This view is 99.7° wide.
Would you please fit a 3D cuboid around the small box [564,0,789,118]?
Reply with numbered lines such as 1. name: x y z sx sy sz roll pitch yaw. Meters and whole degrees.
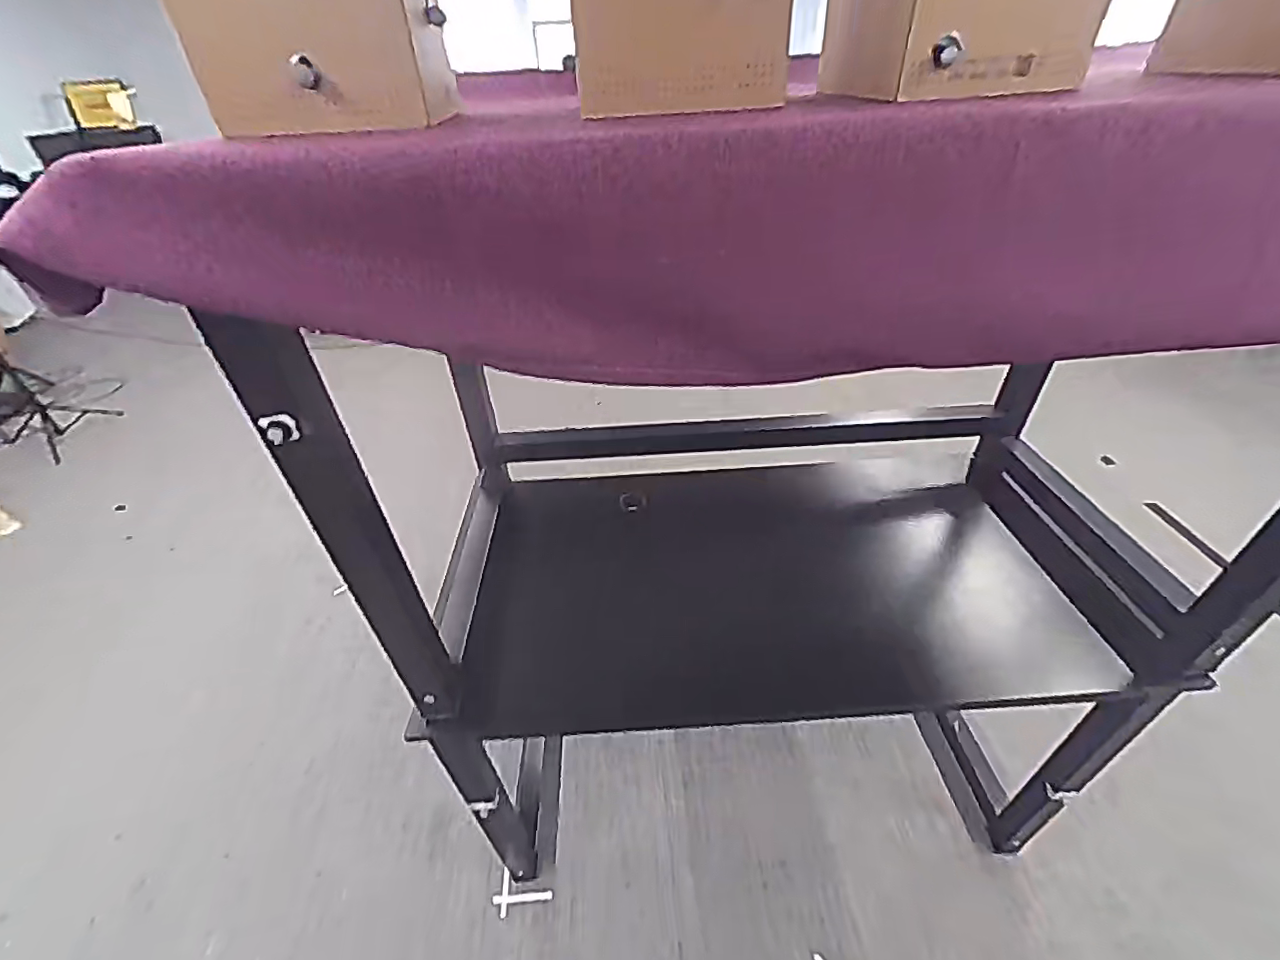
1. small box: 0.027 -0.421 0.459 0.179 0.176 0.168 -4 38 0

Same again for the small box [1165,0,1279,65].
1. small box: 0.603 -0.444 0.437 0.168 0.176 0.179 -2 38 3

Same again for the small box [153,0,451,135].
1. small box: -0.273 -0.400 0.453 0.179 0.176 0.168 -5 38 -4

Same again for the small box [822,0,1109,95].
1. small box: 0.271 -0.431 0.451 0.168 0.176 0.179 -7 37 -4
